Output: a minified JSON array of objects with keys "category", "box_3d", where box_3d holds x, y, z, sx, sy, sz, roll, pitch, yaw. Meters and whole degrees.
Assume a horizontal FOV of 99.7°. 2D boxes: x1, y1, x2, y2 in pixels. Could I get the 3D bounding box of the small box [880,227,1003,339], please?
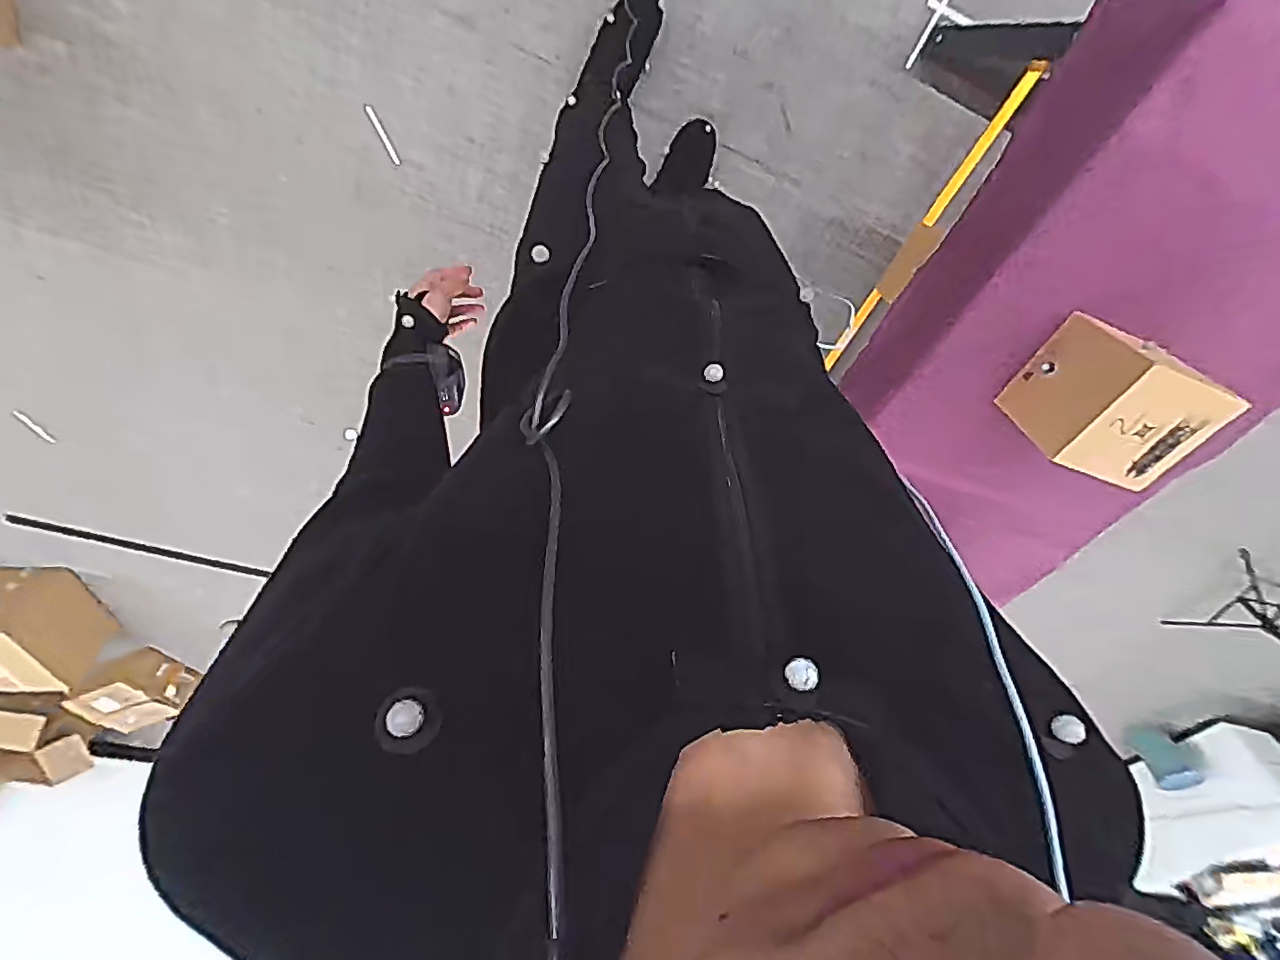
[{"category":"small box","box_3d":[0.711,-0.477,1.305,0.168,0.176,0.179,16,128,-14]}]
